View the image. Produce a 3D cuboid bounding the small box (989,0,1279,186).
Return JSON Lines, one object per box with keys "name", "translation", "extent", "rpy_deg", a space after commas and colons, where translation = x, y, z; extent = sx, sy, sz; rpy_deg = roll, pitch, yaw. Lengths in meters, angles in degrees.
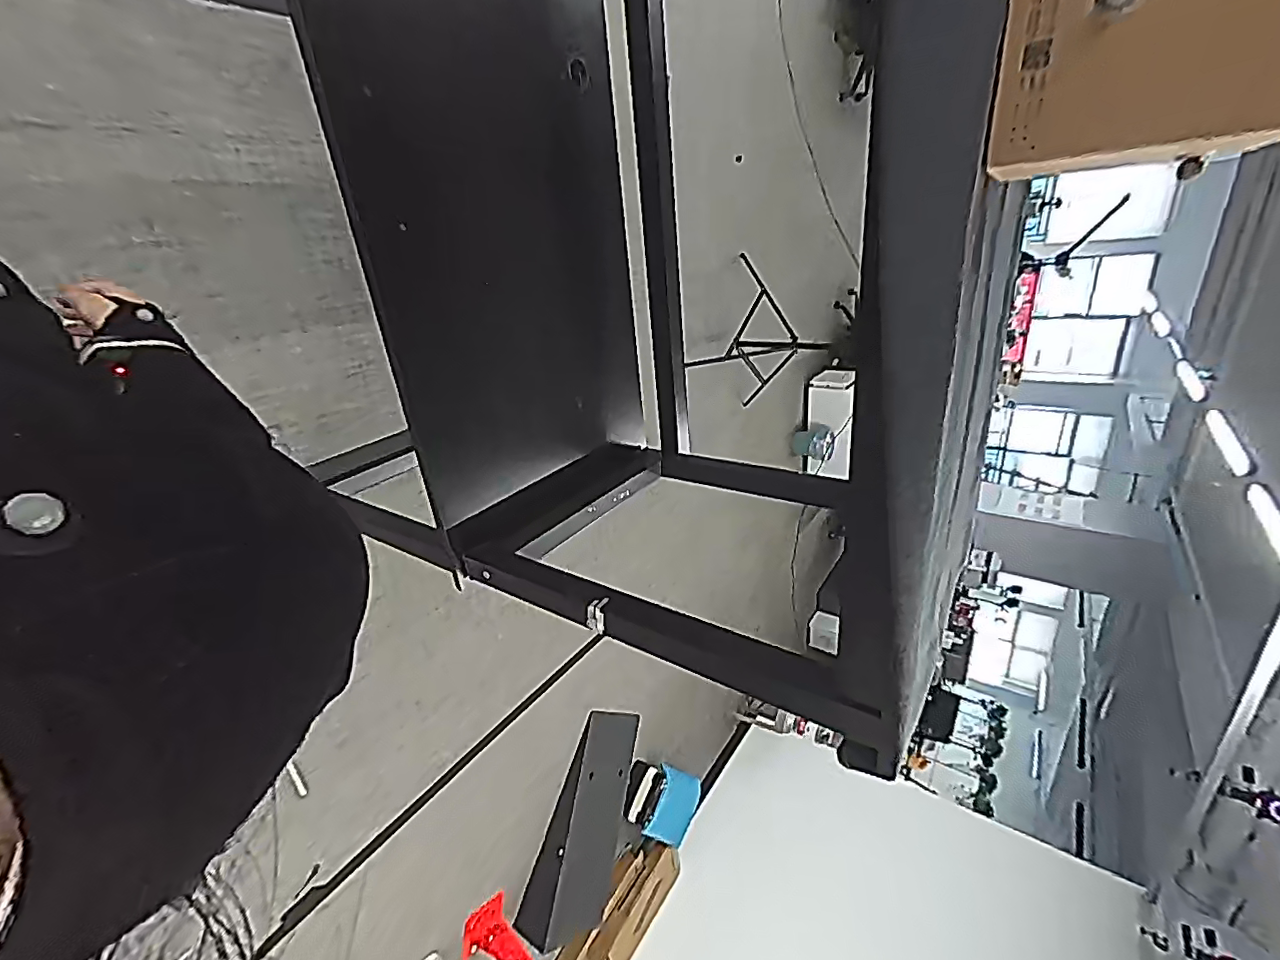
{"name": "small box", "translation": [0.353, -0.307, 0.369], "extent": [0.179, 0.176, 0.168], "rpy_deg": [-34, 125, -48]}
